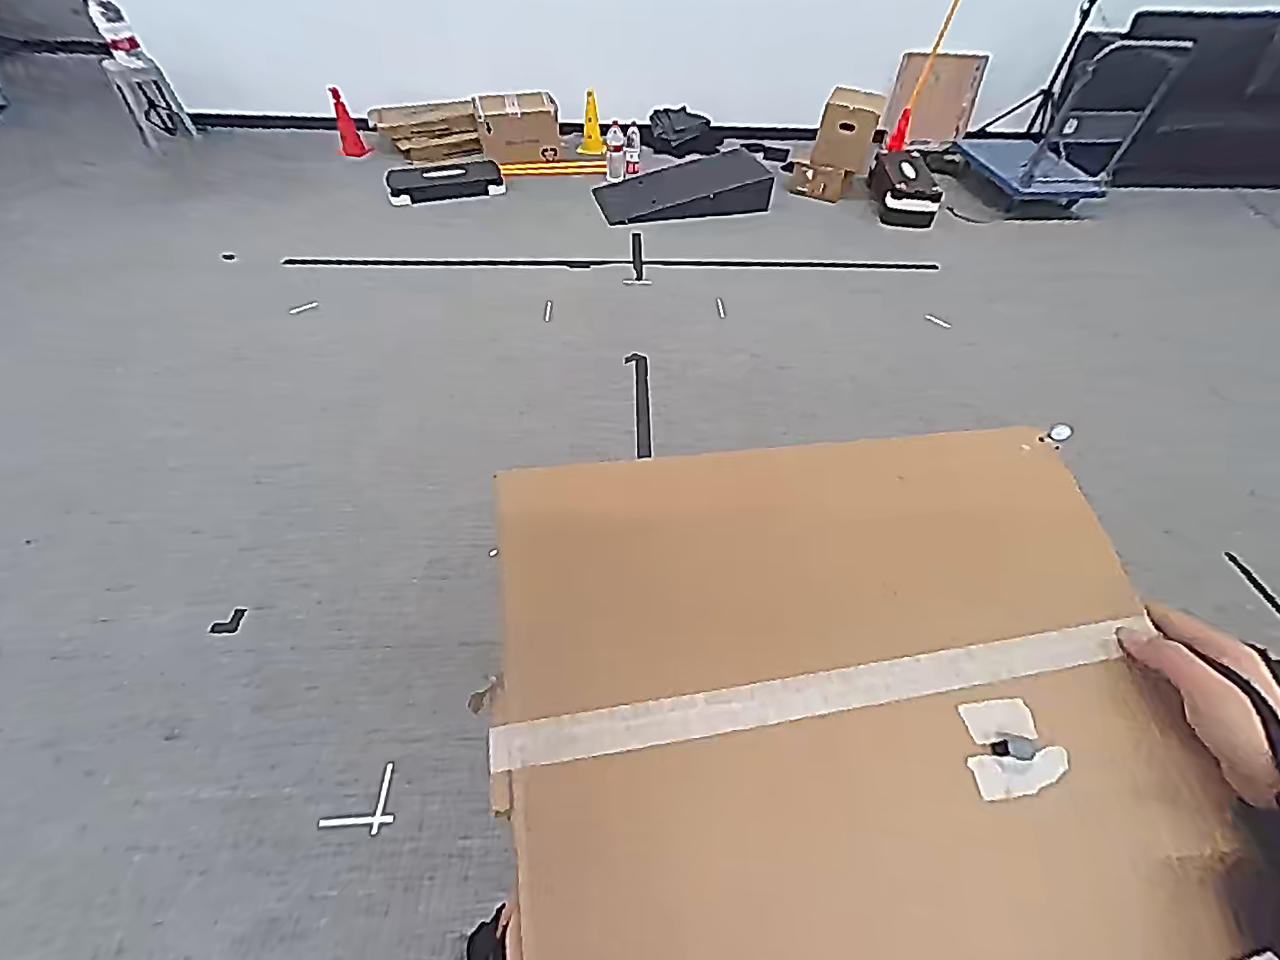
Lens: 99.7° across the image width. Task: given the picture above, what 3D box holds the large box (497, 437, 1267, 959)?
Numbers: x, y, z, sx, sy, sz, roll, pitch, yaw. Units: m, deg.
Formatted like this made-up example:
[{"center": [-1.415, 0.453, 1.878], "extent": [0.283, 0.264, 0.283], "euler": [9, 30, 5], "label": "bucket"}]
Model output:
[{"center": [0.108, 0.188, 0.453], "extent": [0.408, 0.320, 0.320], "euler": [-5, 66, -11], "label": "large box"}]
